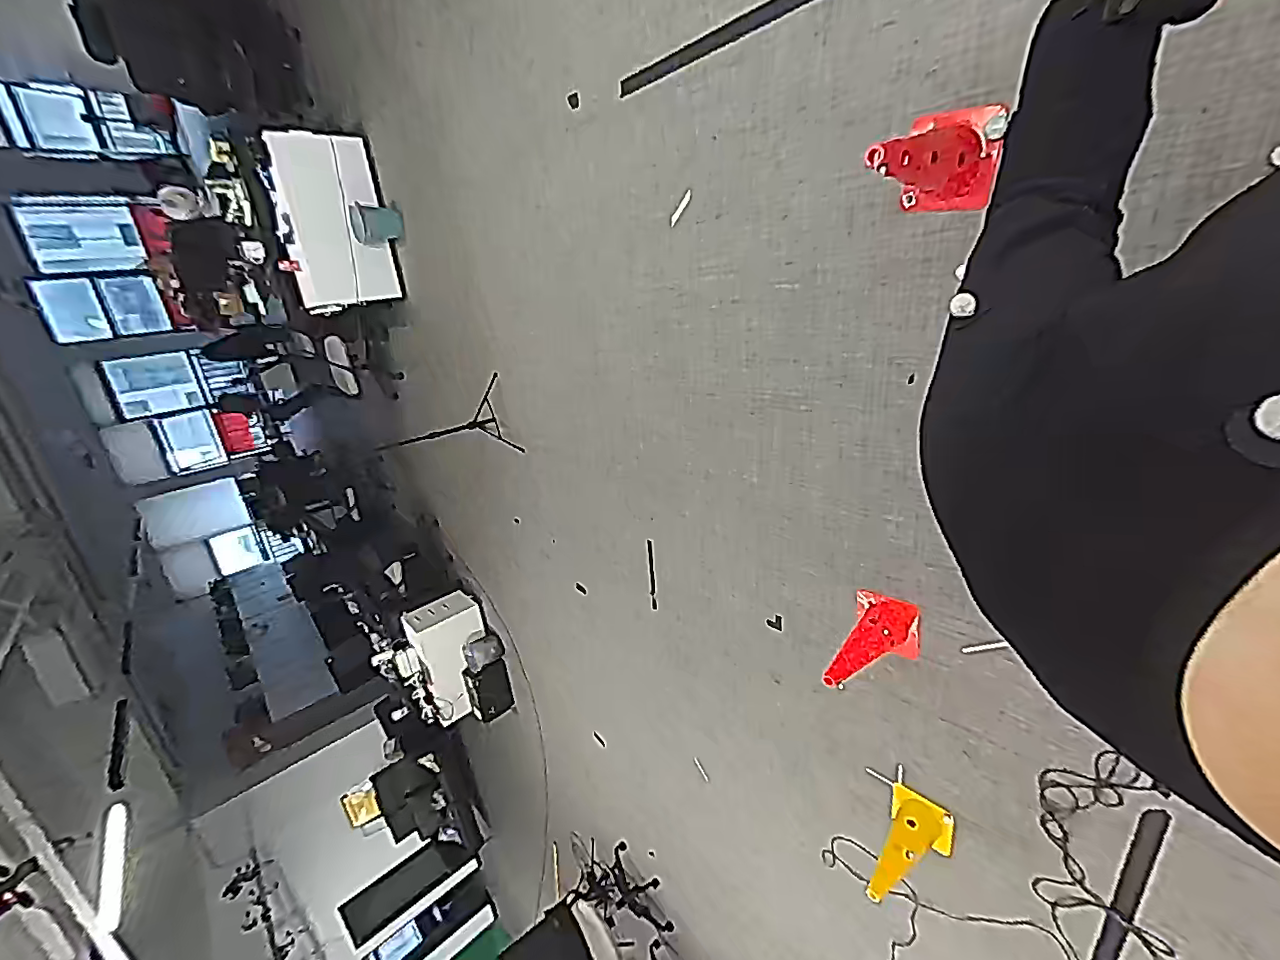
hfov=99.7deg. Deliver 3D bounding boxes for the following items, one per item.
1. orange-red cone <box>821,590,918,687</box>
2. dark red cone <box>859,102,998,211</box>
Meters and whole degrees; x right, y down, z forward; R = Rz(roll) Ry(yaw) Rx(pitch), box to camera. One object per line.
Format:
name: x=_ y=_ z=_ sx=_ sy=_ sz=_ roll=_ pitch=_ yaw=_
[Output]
orange-red cone: x=0.666 y=0.518 z=1.642 sx=0.198 sy=0.360 sz=0.199 roll=14 pitch=120 yaw=48
dark red cone: x=0.562 y=-0.668 z=1.118 sx=0.201 sy=0.394 sz=0.202 roll=23 pitch=125 yaw=42
